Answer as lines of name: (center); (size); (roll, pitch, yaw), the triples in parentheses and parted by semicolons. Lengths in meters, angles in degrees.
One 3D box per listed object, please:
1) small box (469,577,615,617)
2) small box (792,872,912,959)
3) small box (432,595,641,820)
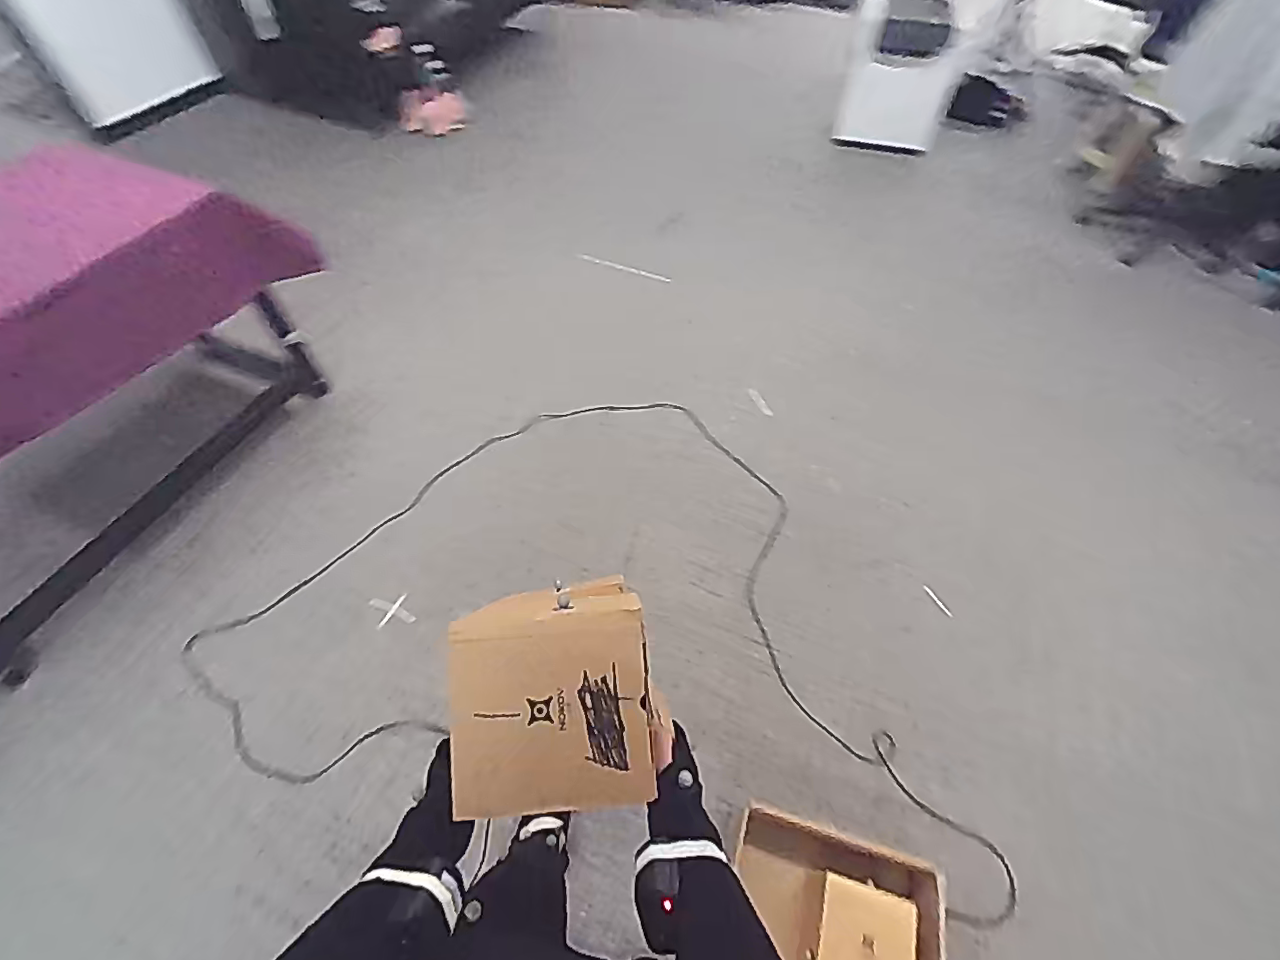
small box: (-0.110, 0.227, 0.718); (0.179, 0.176, 0.168); (-10, 83, -4)
small box: (0.401, 0.884, 1.038); (0.168, 0.176, 0.179); (15, 59, 11)
small box: (-0.097, 0.213, 0.555); (0.179, 0.176, 0.168); (-5, 83, -3)
